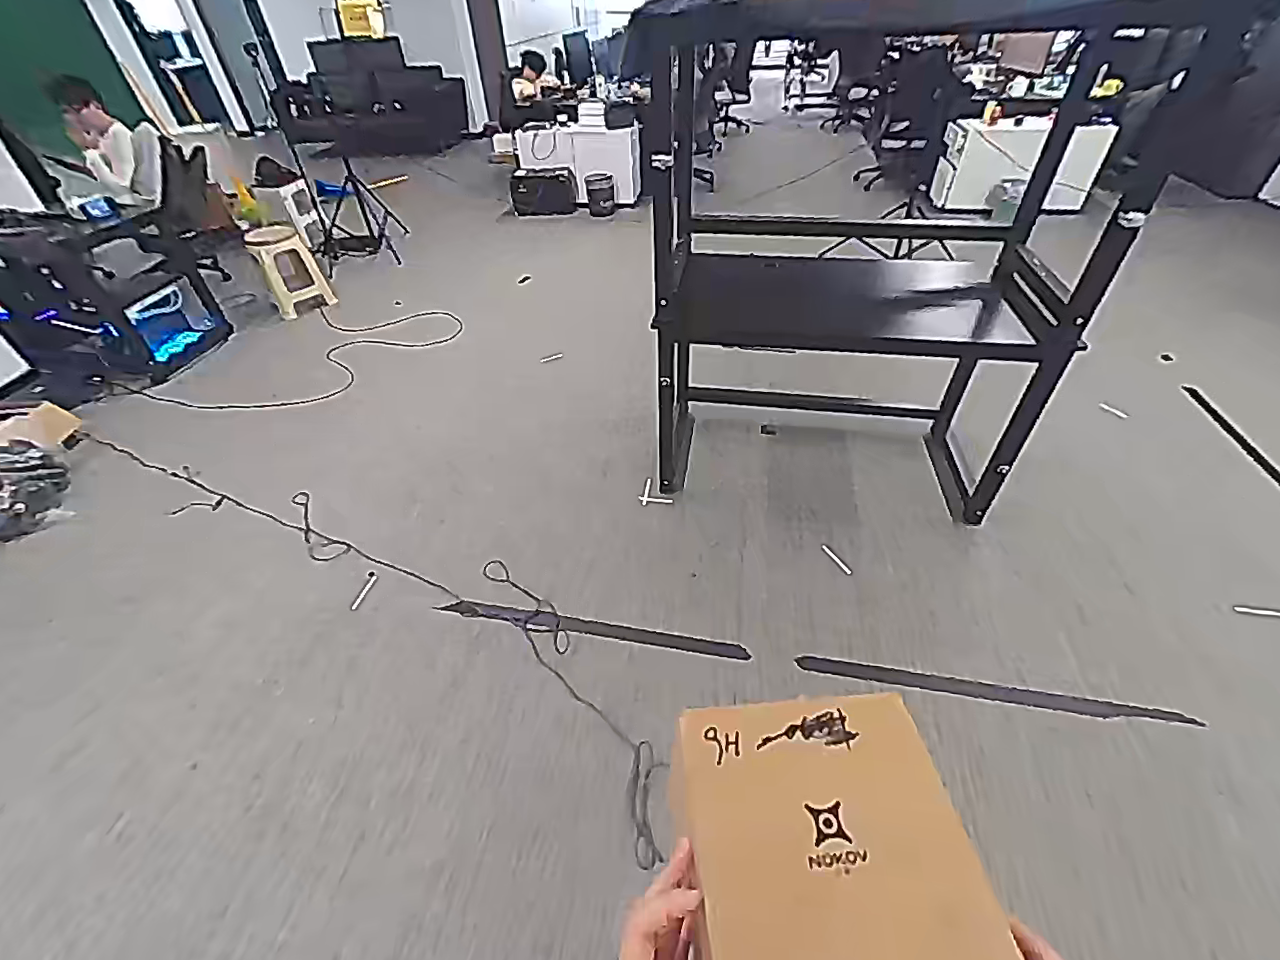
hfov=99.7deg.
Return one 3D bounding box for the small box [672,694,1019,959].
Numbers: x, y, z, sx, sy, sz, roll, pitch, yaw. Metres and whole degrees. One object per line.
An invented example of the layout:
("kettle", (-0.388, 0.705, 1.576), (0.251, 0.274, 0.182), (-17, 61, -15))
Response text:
("small box", (0.115, 0.277, 0.379), (0.168, 0.176, 0.179), (-3, 43, -4))
